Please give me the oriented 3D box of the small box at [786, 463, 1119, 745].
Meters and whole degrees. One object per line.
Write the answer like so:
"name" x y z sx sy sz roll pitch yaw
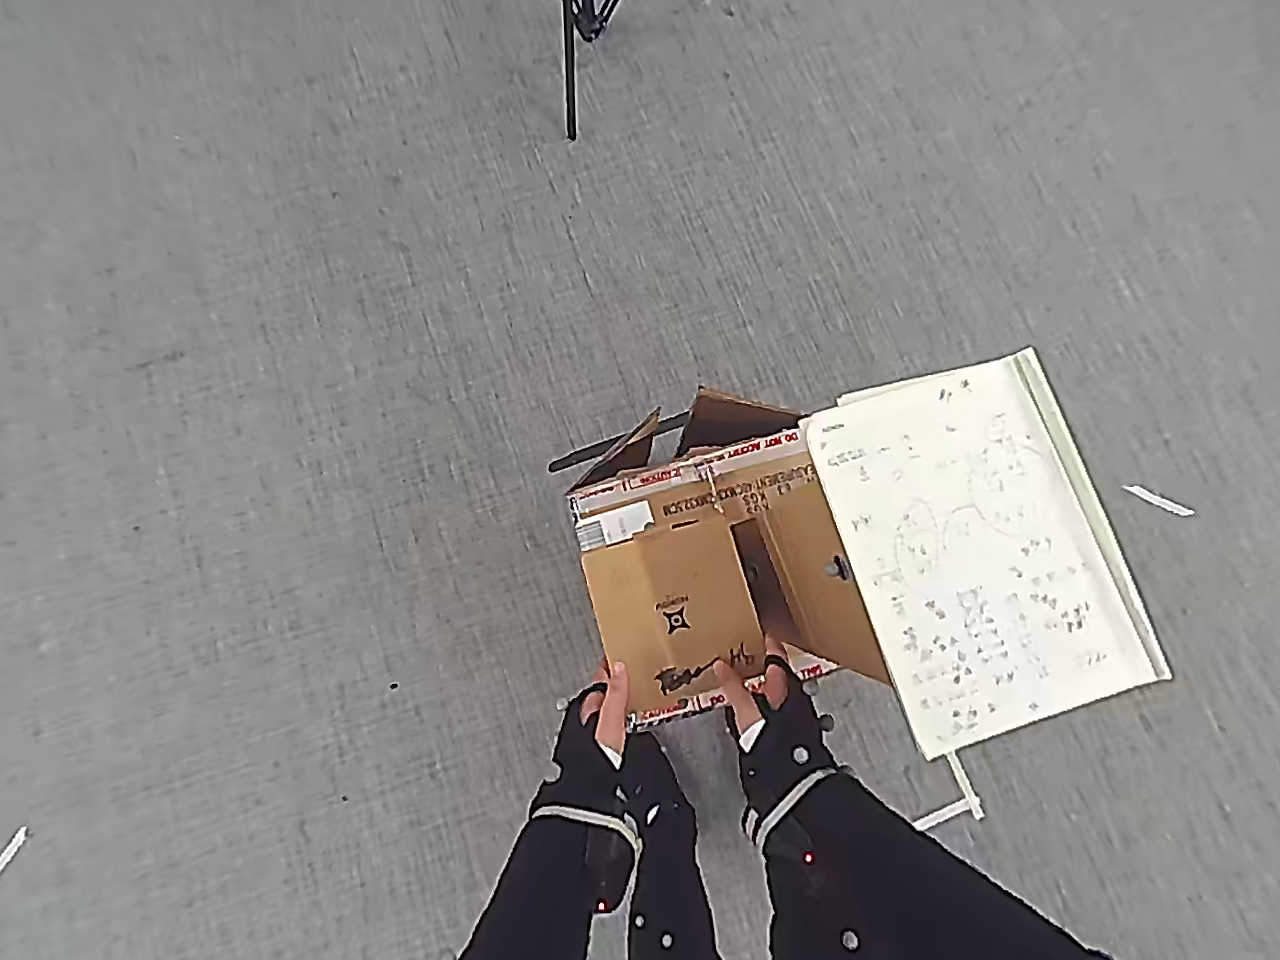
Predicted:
"small box" 0.252 0.102 0.485 0.168 0.176 0.179 -16 82 -6
